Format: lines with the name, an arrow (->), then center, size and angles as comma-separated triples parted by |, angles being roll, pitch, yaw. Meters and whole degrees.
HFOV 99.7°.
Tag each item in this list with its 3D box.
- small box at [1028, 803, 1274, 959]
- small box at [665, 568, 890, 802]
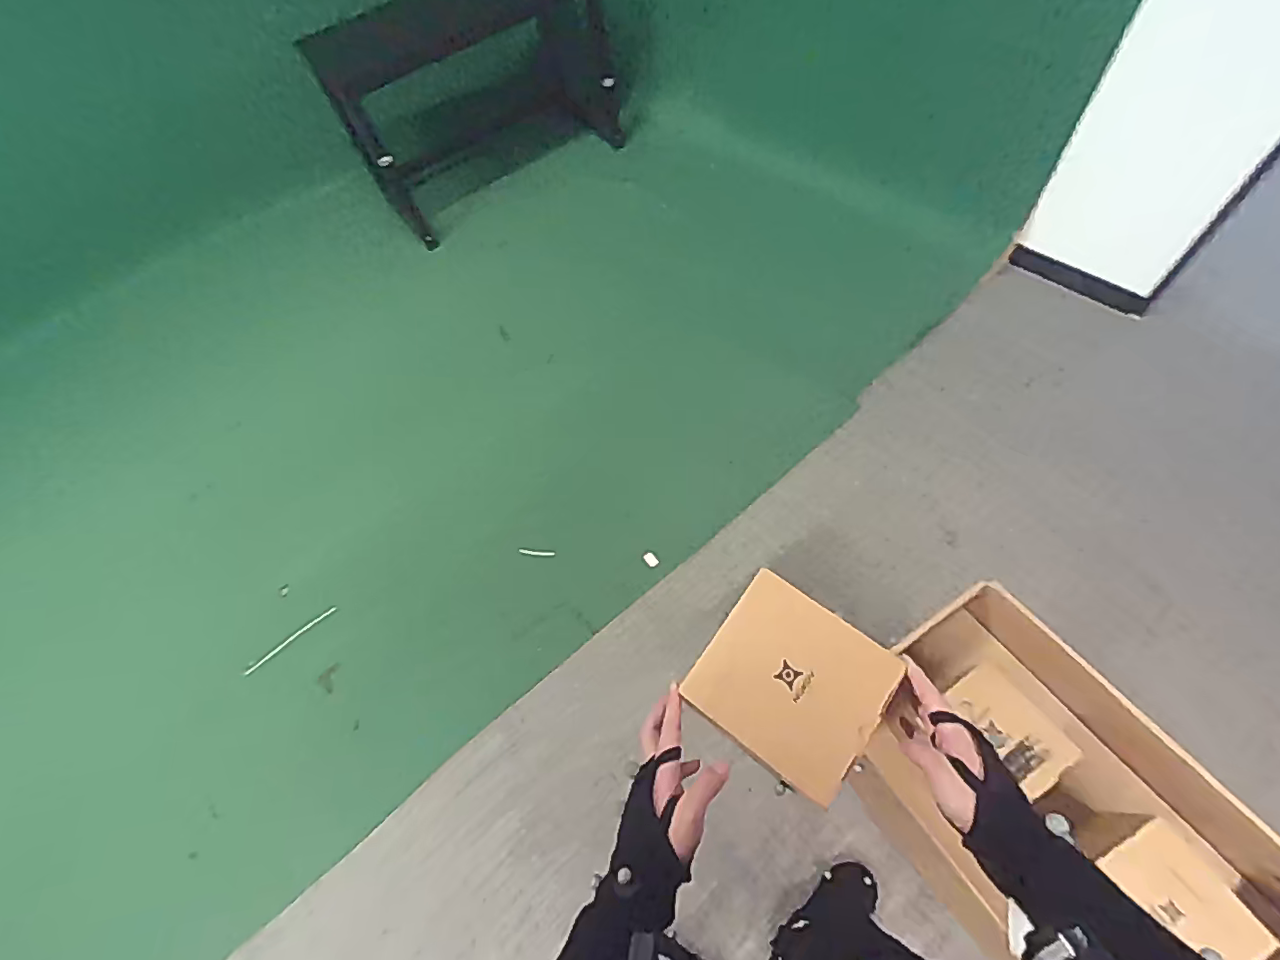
small box -> 0.718, 0.605, 0.794 | 0.179, 0.176, 0.168 | -29, 61, -6
small box -> 0.147, 0.234, 0.633 | 0.179, 0.176, 0.168 | 34, 75, 16
